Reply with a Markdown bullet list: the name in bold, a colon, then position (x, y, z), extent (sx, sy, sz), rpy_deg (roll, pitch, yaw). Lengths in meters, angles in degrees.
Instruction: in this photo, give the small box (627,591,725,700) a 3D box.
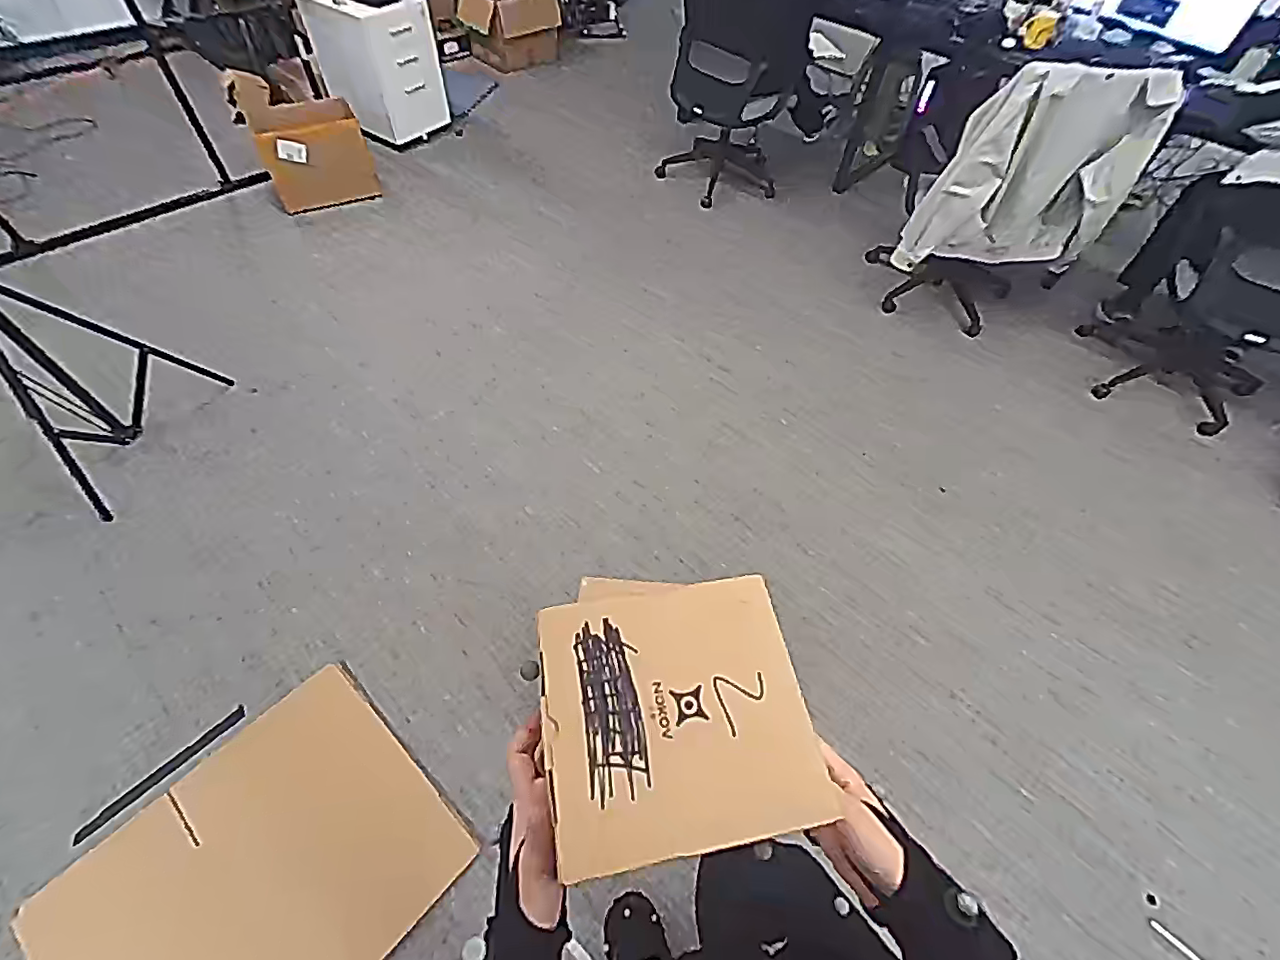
- **small box**: position (0.065, 0.334, 1.079), extent (0.179, 0.176, 0.168), rpy_deg (3, 56, -2)
